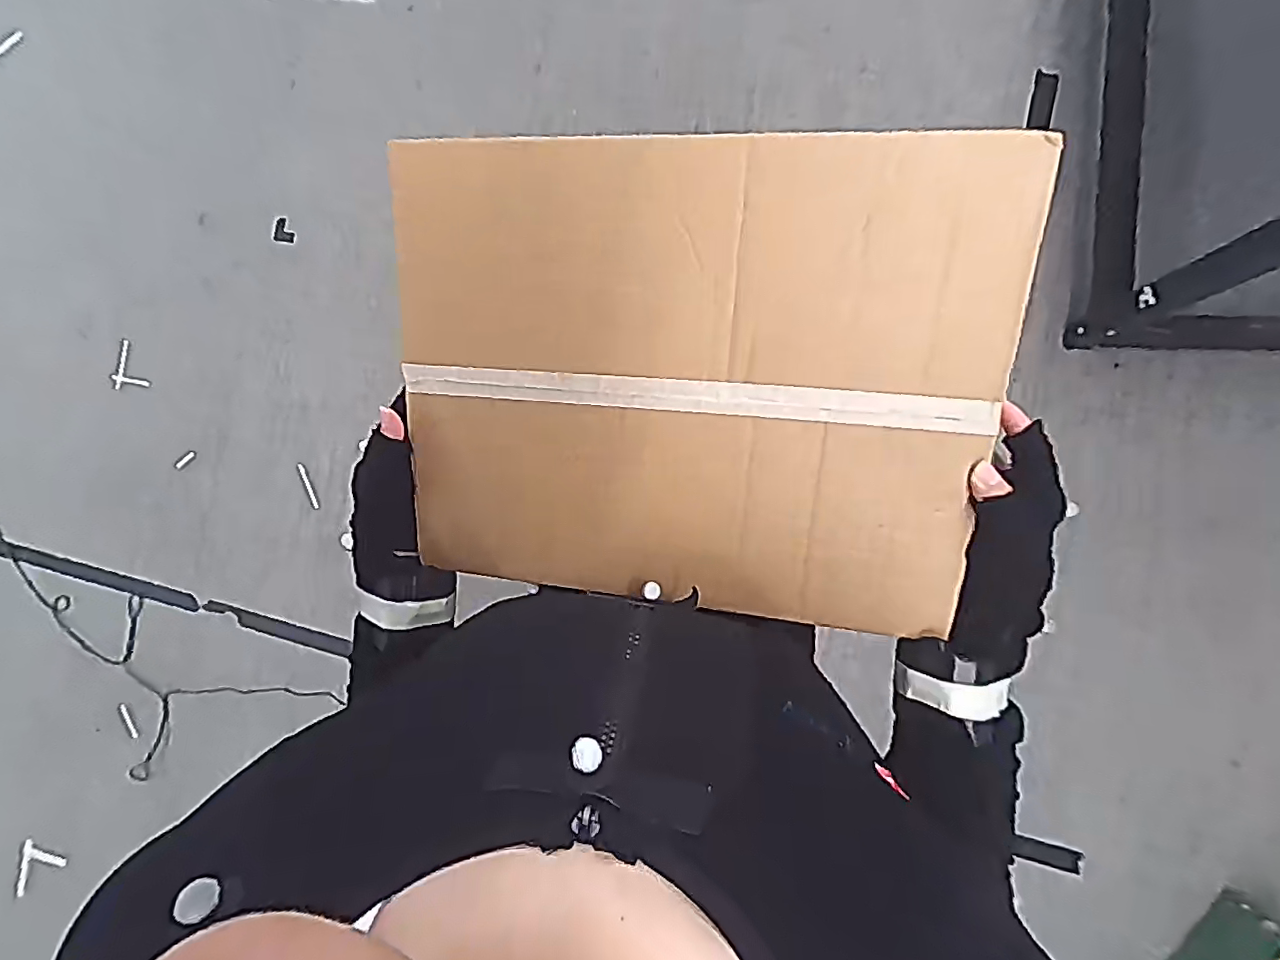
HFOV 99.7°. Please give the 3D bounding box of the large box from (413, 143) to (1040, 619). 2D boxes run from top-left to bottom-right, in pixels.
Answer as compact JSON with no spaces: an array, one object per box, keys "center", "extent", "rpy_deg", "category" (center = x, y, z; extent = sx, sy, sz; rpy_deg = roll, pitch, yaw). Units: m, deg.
[{"center":[0.056,-0.102,0.523],"extent":[0.408,0.320,0.320],"rpy_deg":[6,108,10],"category":"large box"}]
